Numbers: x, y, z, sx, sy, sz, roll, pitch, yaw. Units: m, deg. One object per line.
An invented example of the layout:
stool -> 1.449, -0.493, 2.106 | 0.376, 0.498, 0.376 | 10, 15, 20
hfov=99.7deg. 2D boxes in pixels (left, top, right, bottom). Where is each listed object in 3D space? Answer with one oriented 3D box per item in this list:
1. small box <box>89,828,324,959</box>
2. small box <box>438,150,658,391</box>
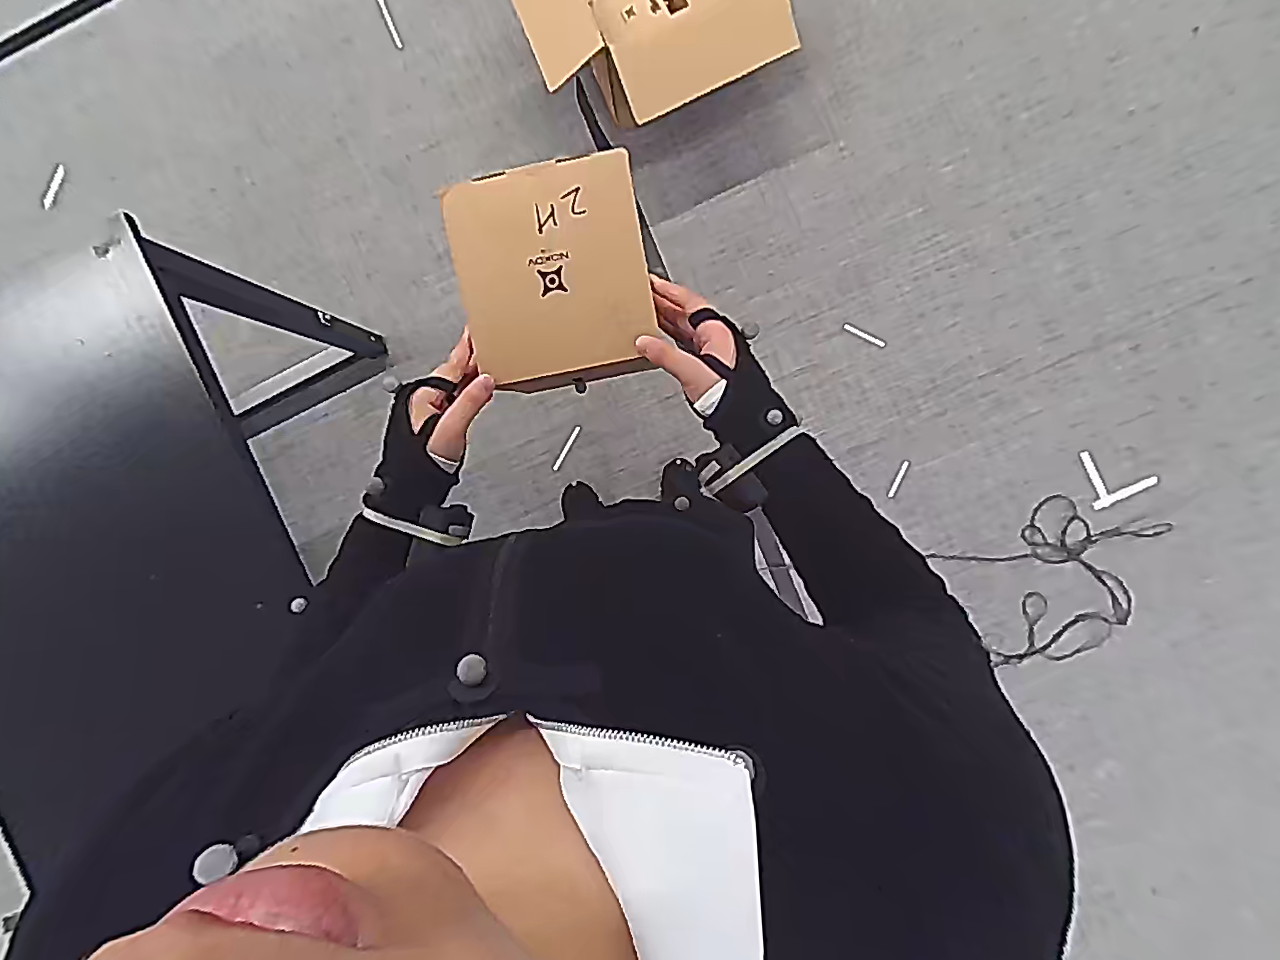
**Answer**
small box -> -0.574, 0.628, 0.739 | 0.179, 0.176, 0.168 | -29, 89, 5
small box -> -0.075, -0.189, 0.545 | 0.168, 0.176, 0.179 | -11, 97, 2
